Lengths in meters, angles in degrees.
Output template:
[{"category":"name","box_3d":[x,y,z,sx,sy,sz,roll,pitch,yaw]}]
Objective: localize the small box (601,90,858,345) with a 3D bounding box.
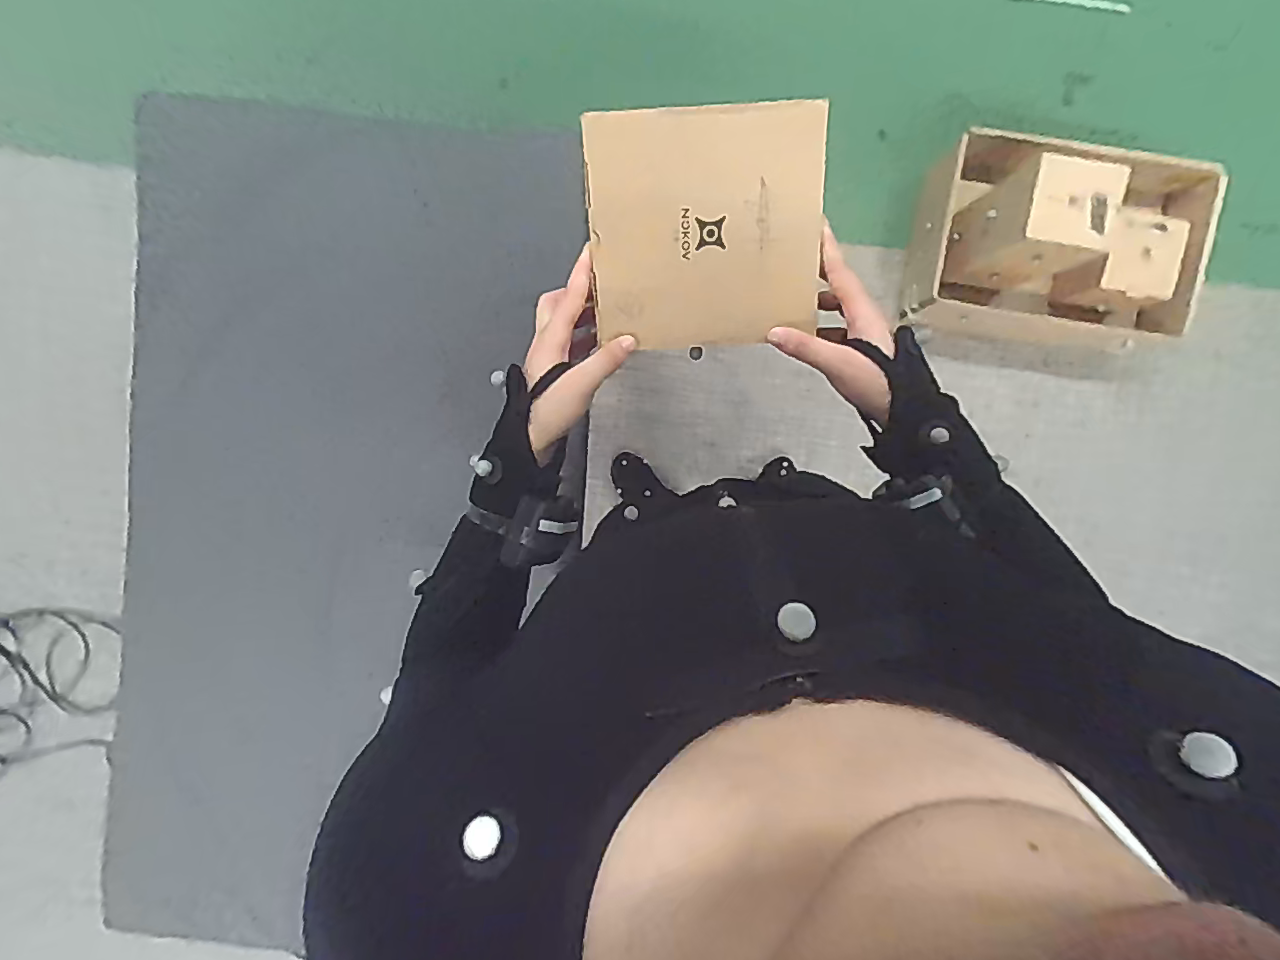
[{"category":"small box","box_3d":[0.063,-0.209,0.465,0.179,0.176,0.168,-3,110,0]}]

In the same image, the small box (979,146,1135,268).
[{"category":"small box","box_3d":[0.853,-0.555,1.123,0.179,0.176,0.168,9,95,-1]}]

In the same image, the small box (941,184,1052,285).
[{"category":"small box","box_3d":[0.853,-0.574,1.286,0.179,0.176,0.168,8,96,-2]}]
